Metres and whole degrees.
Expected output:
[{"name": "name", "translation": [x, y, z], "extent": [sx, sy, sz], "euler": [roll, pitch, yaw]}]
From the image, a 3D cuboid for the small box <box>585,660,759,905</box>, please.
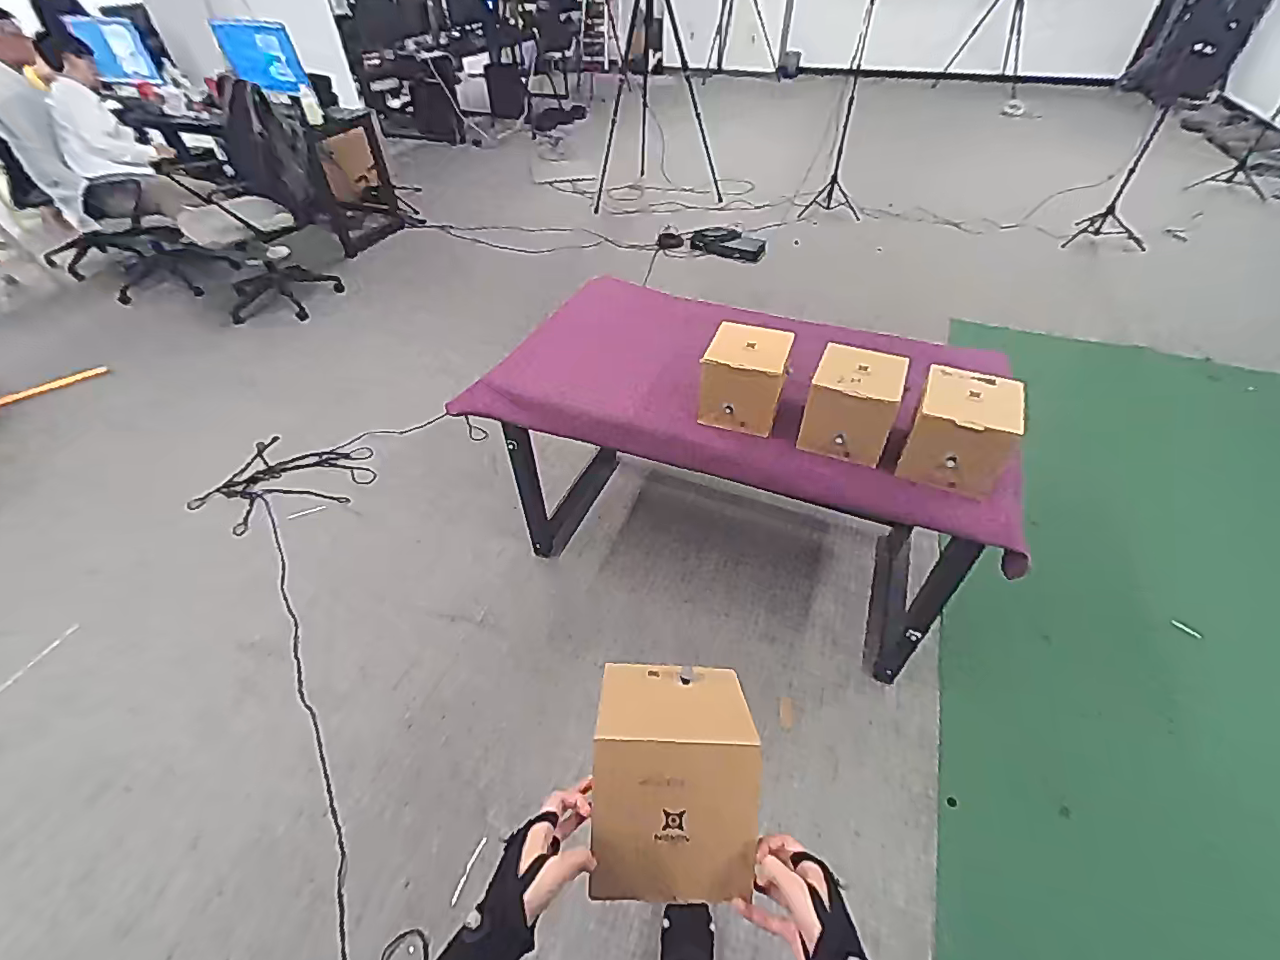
[{"name": "small box", "translation": [0.032, 0.326, 0.610], "extent": [0.168, 0.179, 0.176], "euler": [2, 6, 0]}]
